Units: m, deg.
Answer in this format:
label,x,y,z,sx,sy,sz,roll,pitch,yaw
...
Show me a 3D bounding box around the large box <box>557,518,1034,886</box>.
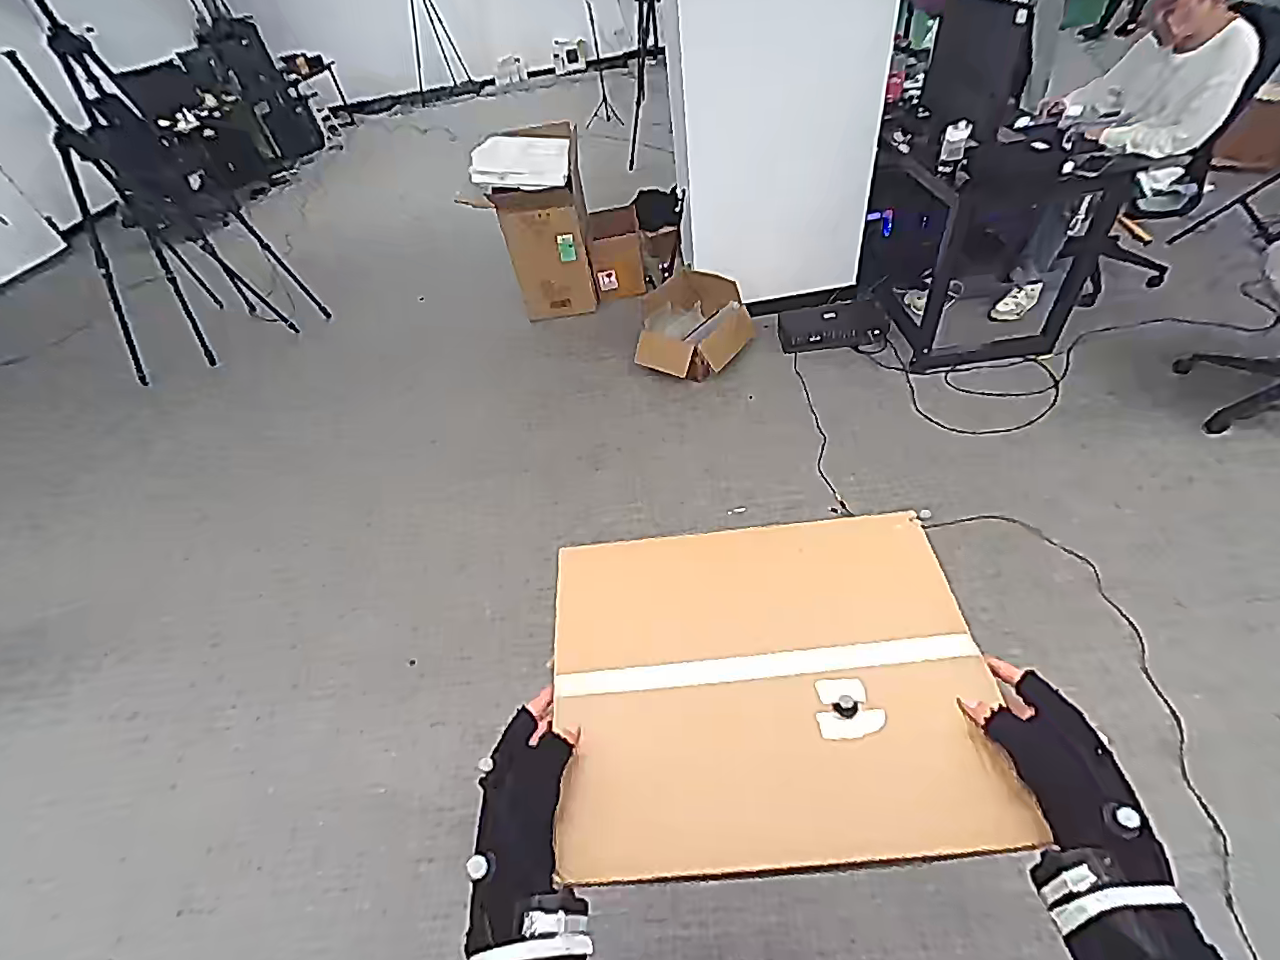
label,x,y,z,sx,sy,sz,roll,pitch,yaw
large box,0.130,0.277,0.652,0.408,0.320,0.320,-6,52,3
